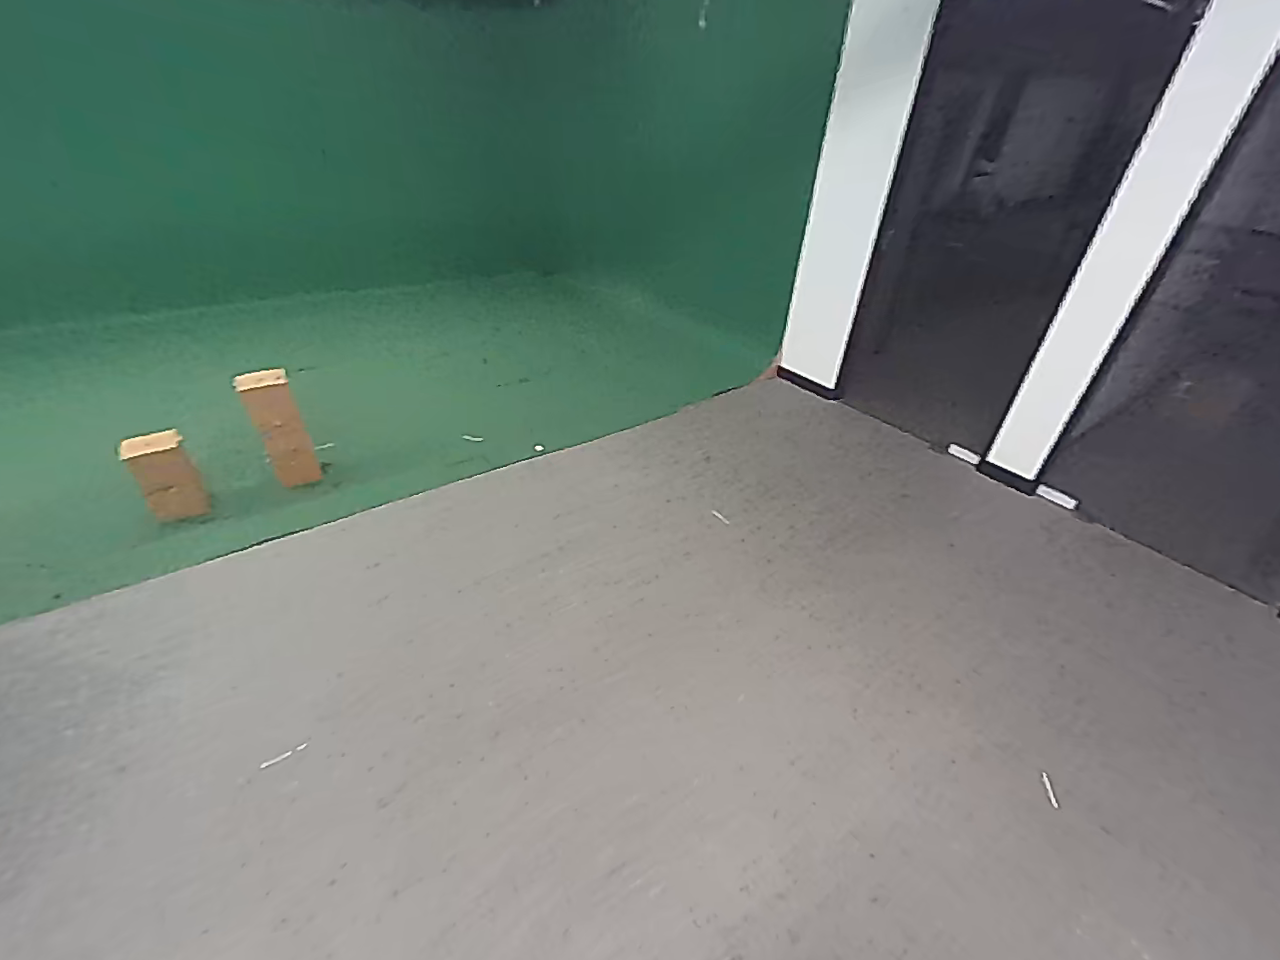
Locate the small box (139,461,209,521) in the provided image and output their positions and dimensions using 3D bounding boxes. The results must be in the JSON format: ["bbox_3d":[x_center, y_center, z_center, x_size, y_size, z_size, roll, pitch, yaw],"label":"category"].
[{"bbox_3d":[-1.953,0.046,2.275,0.179,0.176,0.168,-17,40,-25],"label":"small box"}]

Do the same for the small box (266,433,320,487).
[{"bbox_3d":[-1.602,-0.093,2.505,0.179,0.176,0.168,-18,41,-27],"label":"small box"}]

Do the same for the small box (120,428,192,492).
[{"bbox_3d":[-1.940,-0.080,2.173,0.179,0.176,0.168,-23,43,-31],"label":"small box"}]

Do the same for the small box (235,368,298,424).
[{"bbox_3d":[-1.596,-0.357,2.311,0.179,0.176,0.168,-19,41,-28],"label":"small box"}]
